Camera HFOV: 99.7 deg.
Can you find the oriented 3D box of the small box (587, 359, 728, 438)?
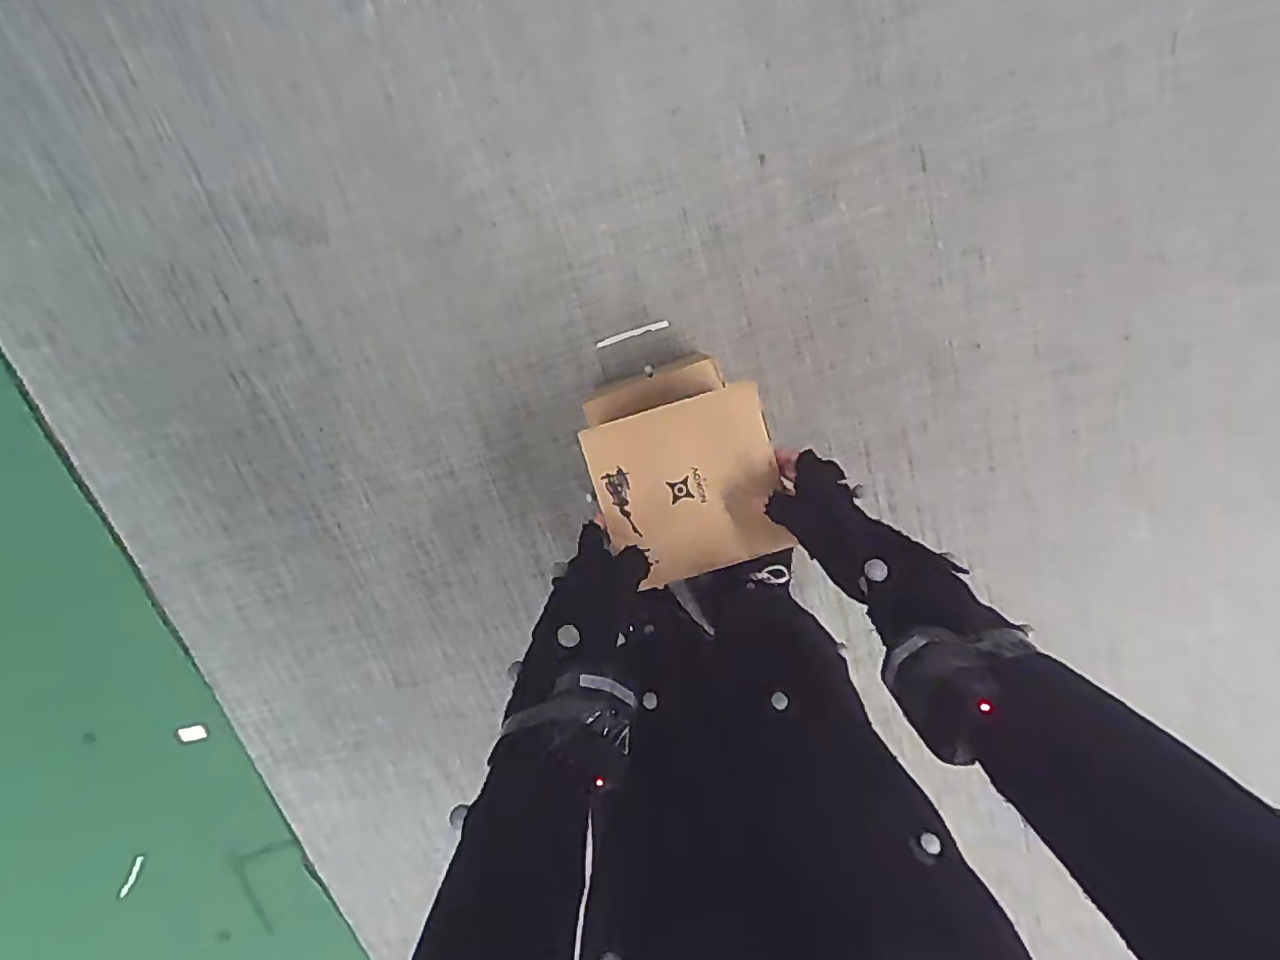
[{"bbox_3d":[0.039,-0.065,0.758,0.179,0.176,0.168,-20,103,6],"label":"small box"}]

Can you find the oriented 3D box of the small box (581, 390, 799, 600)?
[{"bbox_3d":[0.049,0.007,0.598,0.179,0.176,0.168,-19,95,3],"label":"small box"}]
